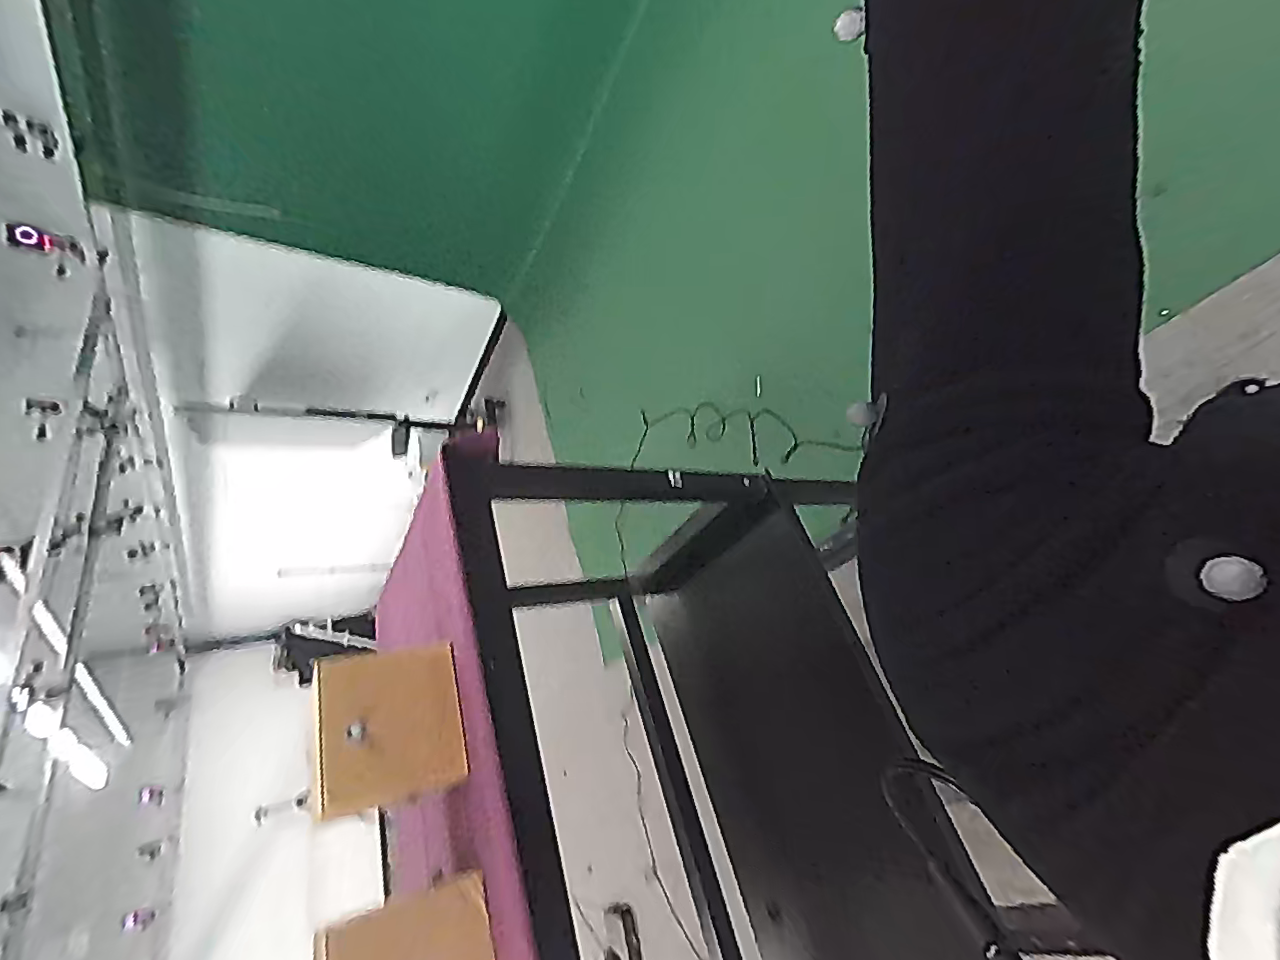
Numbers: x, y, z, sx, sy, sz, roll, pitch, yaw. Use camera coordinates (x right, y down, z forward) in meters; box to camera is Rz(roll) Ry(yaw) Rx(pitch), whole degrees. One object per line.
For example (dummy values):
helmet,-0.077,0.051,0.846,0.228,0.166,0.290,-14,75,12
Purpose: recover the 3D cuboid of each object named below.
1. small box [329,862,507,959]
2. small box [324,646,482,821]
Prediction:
small box,-0.251,0.572,0.619,0.168,0.176,0.179,-49,50,43
small box,-0.335,0.343,0.753,0.168,0.176,0.179,-49,51,43
